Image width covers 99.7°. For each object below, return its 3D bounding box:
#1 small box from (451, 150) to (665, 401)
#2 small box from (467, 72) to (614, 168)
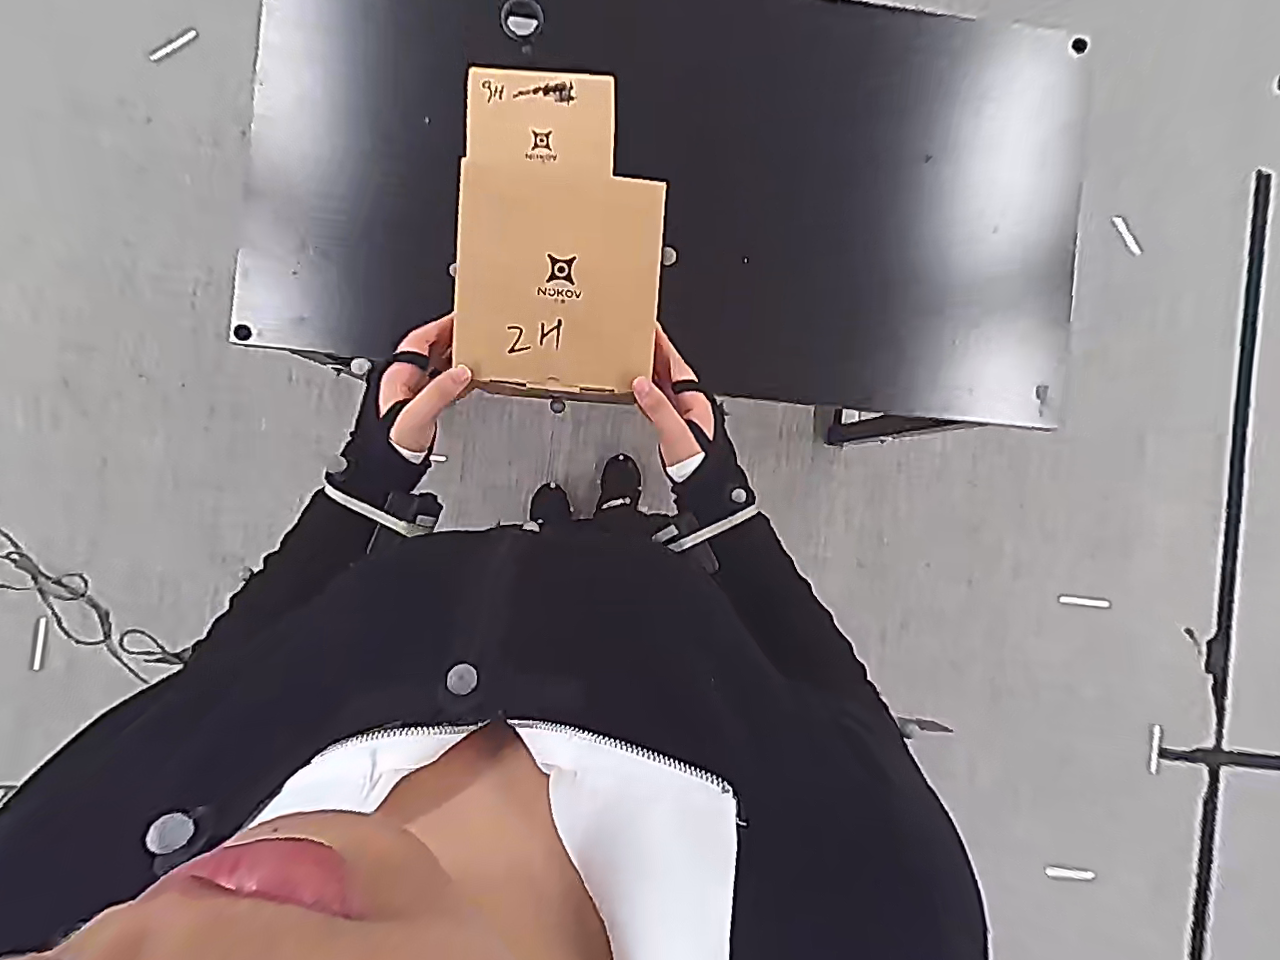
[{"bbox_3d":[-0.074,-0.177,0.522,0.168,0.176,0.179,4,93,-5],"label":"small box"},{"bbox_3d":[-0.118,-0.374,0.695,0.168,0.176,0.179,1,90,-3],"label":"small box"}]
